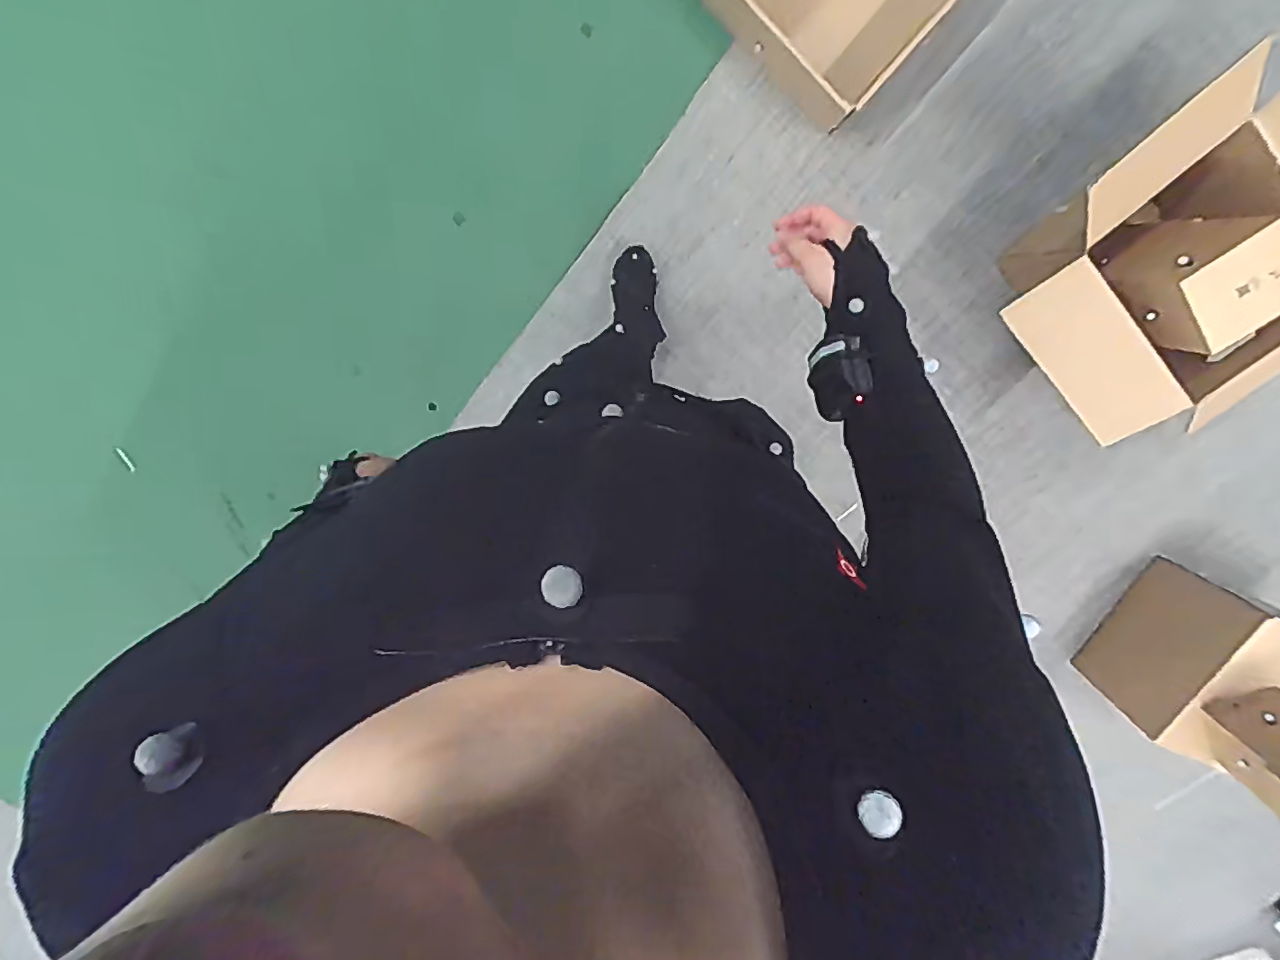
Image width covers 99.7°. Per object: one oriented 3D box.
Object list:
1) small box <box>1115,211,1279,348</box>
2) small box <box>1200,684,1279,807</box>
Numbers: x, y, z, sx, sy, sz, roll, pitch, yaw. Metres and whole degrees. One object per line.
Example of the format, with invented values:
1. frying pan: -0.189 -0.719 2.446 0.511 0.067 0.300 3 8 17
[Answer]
1. small box: 1.071 -0.382 1.038 0.179 0.176 0.168 -37 107 15
2. small box: 1.450 0.596 1.236 0.168 0.176 0.179 -26 104 12
